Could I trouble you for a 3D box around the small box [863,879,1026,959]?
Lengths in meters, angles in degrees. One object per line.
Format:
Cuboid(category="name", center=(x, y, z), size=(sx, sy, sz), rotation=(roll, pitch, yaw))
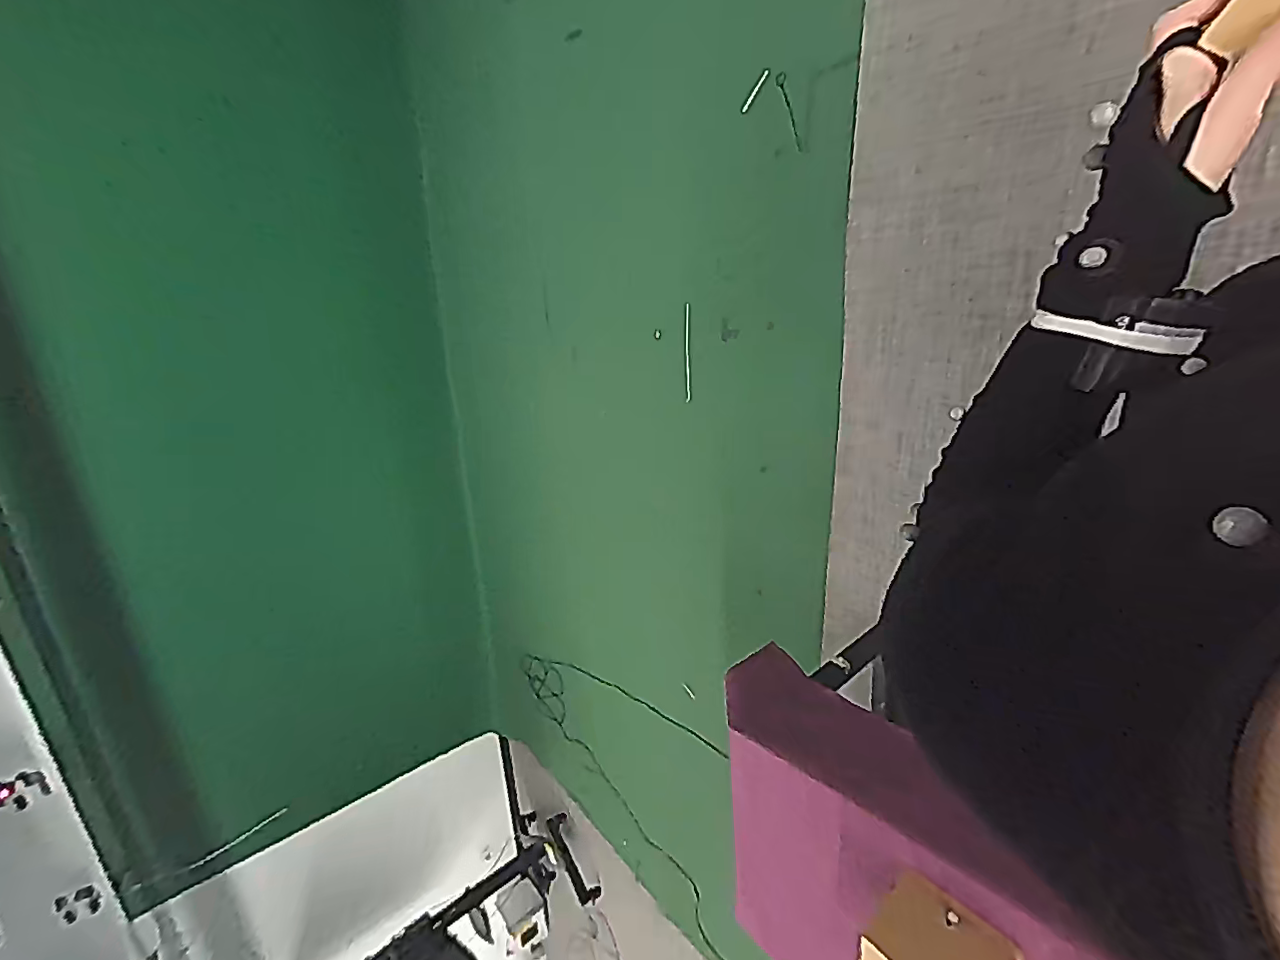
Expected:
Cuboid(category="small box", center=(0.480, 0.794, 0.866), size=(0.179, 0.176, 0.168), rotation=(16, 115, 48))
